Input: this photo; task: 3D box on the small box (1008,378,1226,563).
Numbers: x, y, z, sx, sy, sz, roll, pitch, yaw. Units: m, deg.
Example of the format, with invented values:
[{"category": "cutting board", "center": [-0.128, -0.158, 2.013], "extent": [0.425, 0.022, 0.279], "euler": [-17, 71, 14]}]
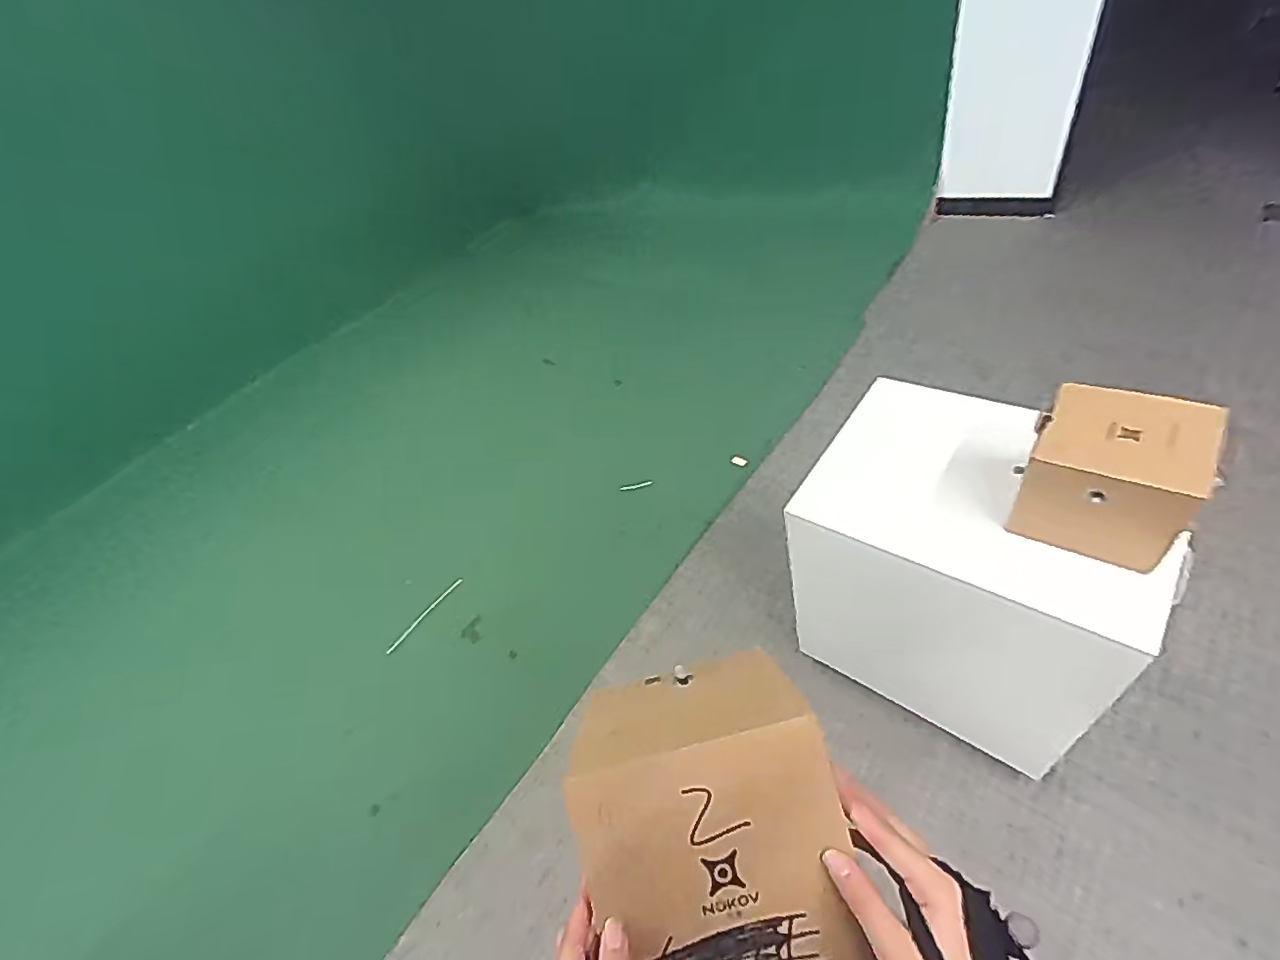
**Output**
[{"category": "small box", "center": [0.643, -0.012, 0.748], "extent": [0.179, 0.176, 0.168], "euler": [22, 60, 34]}]
